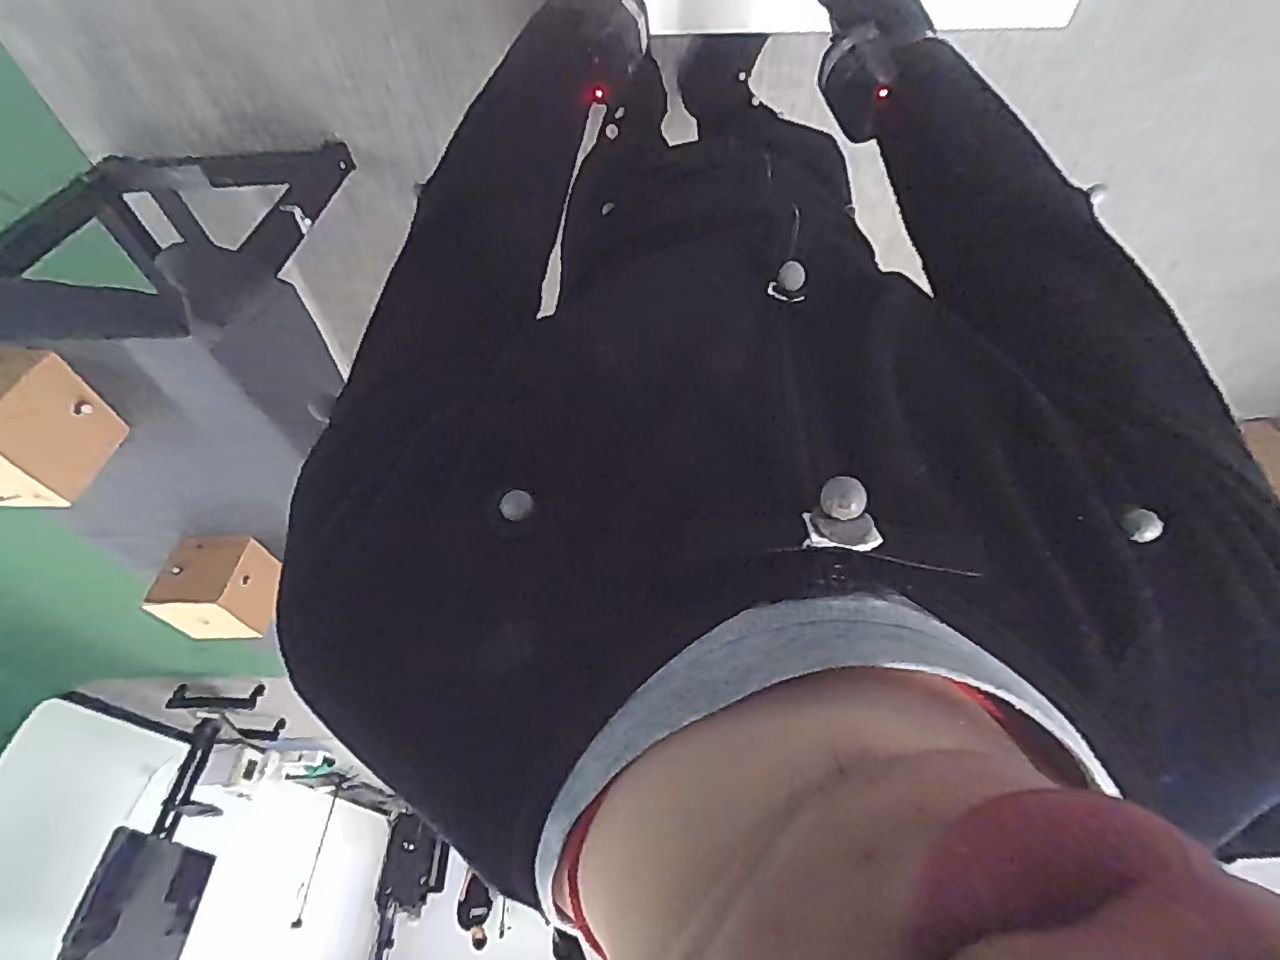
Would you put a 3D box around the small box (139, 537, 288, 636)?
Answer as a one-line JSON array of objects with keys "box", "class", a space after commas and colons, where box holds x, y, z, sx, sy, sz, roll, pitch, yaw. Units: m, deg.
[{"box": [-0.939, 0.237, 1.210, 0.168, 0.176, 0.179, -1, 144, 1], "class": "small box"}]

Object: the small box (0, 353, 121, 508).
[{"box": [-0.946, -0.075, 0.796, 0.168, 0.176, 0.179, 0, 142, -3], "class": "small box"}]
